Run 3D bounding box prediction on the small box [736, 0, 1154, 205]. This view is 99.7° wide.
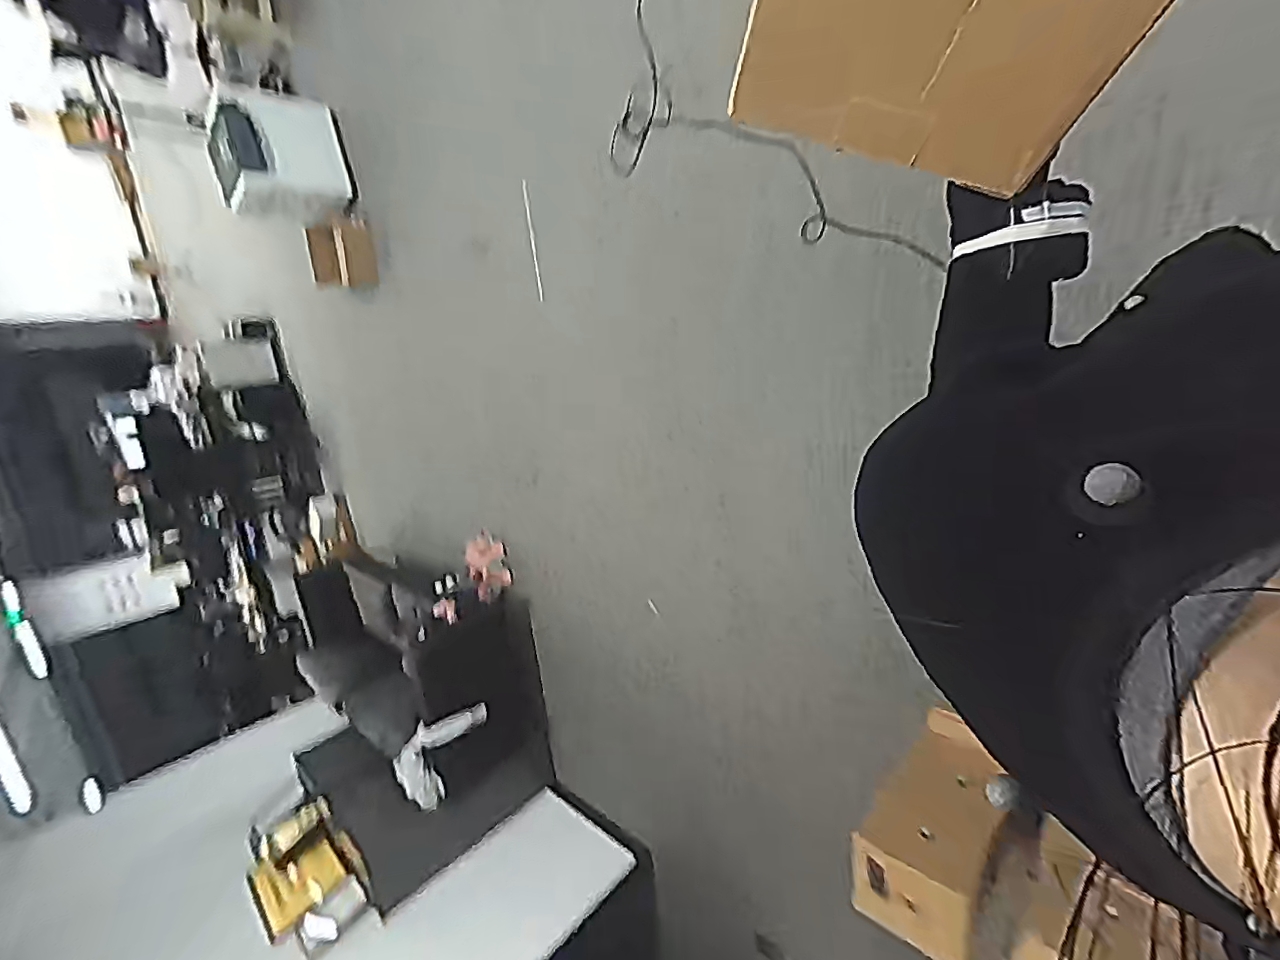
[{"bbox_3d":[0.165,-0.288,0.275,0.168,0.179,0.176,17,152,1],"label":"small box"}]

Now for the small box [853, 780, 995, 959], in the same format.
[{"bbox_3d":[0.493,0.666,0.944,0.179,0.176,0.168,9,110,43],"label":"small box"}]
